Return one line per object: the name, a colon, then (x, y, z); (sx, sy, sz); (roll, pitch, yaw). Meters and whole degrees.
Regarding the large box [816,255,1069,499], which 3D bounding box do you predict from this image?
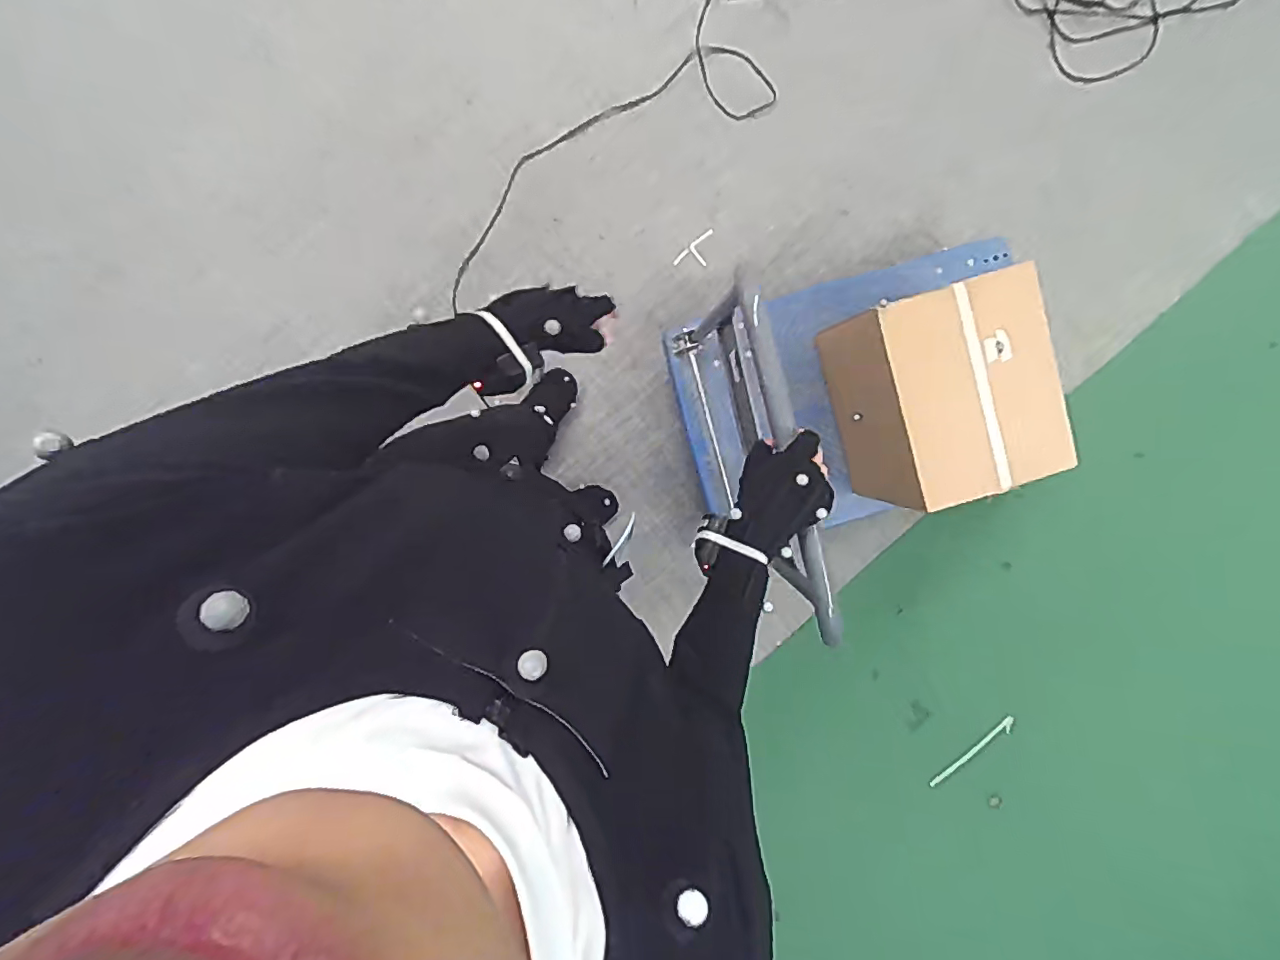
large box: (0.628, -0.205, 1.178); (0.320, 0.320, 0.408); (-17, 96, -2)
